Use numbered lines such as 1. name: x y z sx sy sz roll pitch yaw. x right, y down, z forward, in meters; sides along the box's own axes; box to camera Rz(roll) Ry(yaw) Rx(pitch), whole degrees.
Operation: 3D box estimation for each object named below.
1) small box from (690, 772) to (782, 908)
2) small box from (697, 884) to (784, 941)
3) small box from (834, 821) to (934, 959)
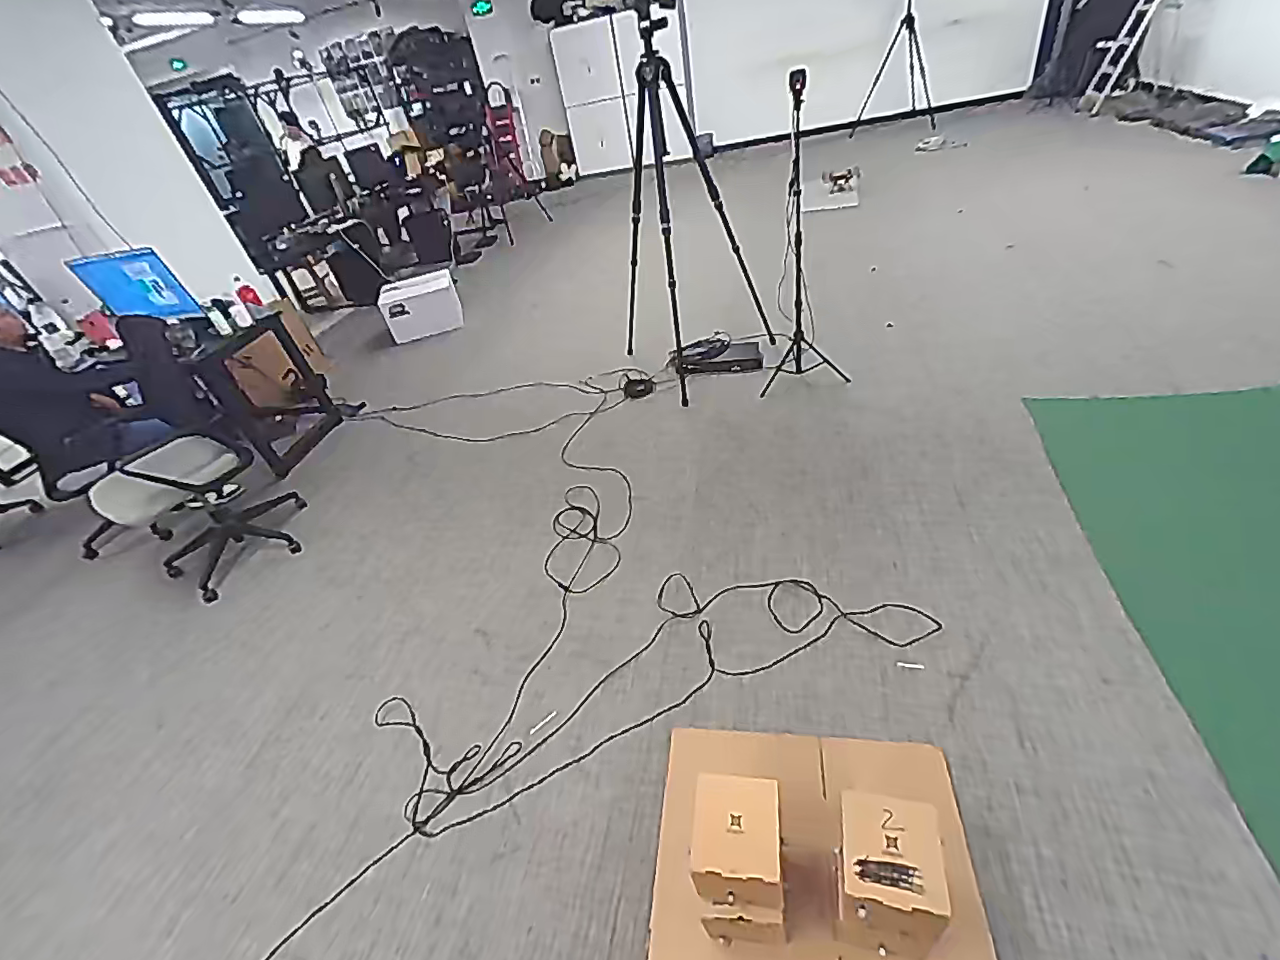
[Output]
1. small box: 0.198 0.722 1.089 0.168 0.176 0.179 -2 39 14
2. small box: 0.219 0.865 1.169 0.168 0.176 0.179 -4 39 12
3. small box: 0.492 0.845 1.117 0.168 0.176 0.179 0 41 18
